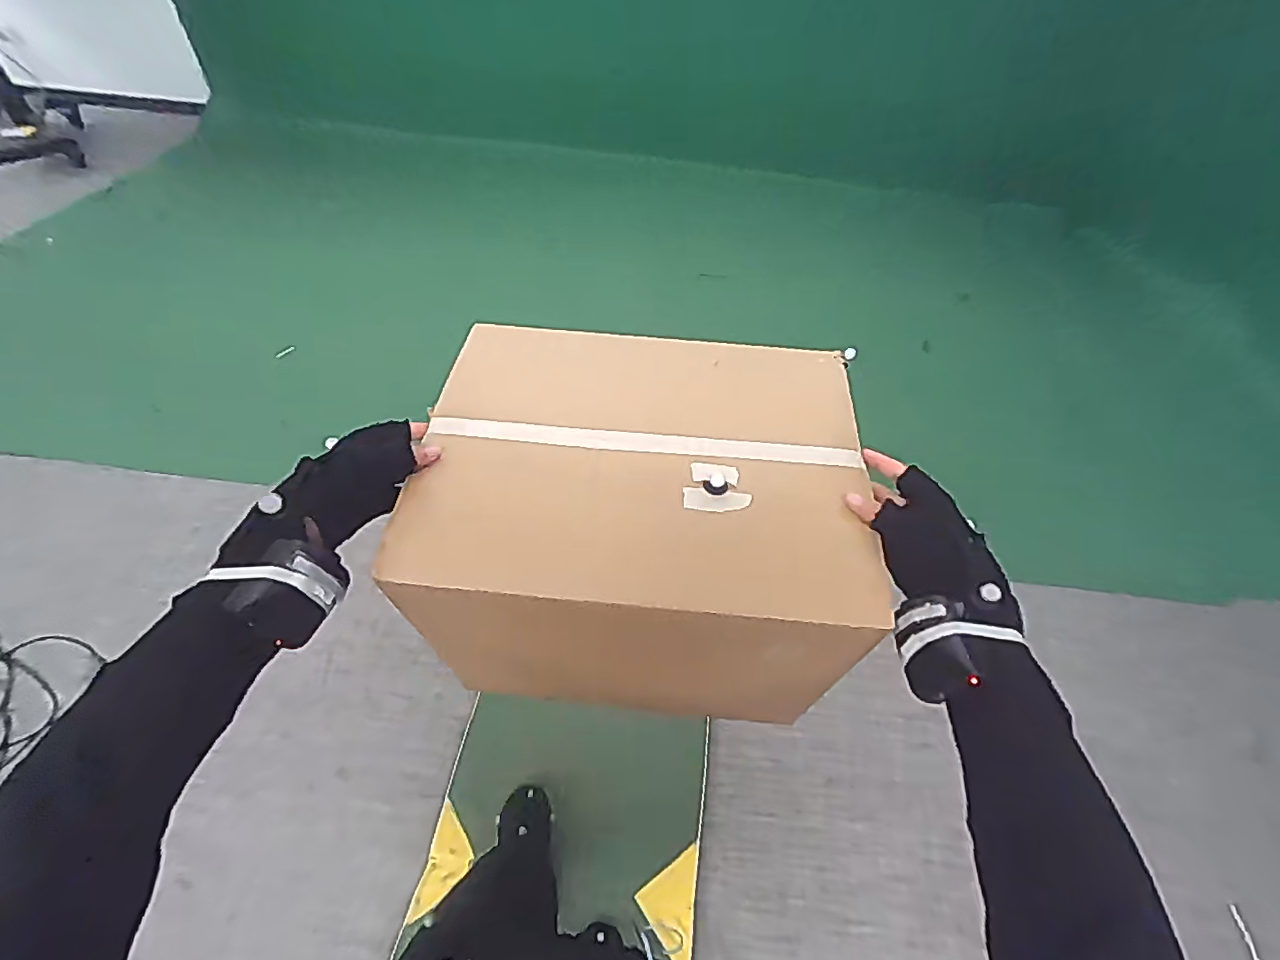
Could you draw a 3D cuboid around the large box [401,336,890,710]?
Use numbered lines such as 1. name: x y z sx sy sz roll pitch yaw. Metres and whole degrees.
1. large box: 0.006 0.061 0.638 0.408 0.320 0.320 5 54 1
